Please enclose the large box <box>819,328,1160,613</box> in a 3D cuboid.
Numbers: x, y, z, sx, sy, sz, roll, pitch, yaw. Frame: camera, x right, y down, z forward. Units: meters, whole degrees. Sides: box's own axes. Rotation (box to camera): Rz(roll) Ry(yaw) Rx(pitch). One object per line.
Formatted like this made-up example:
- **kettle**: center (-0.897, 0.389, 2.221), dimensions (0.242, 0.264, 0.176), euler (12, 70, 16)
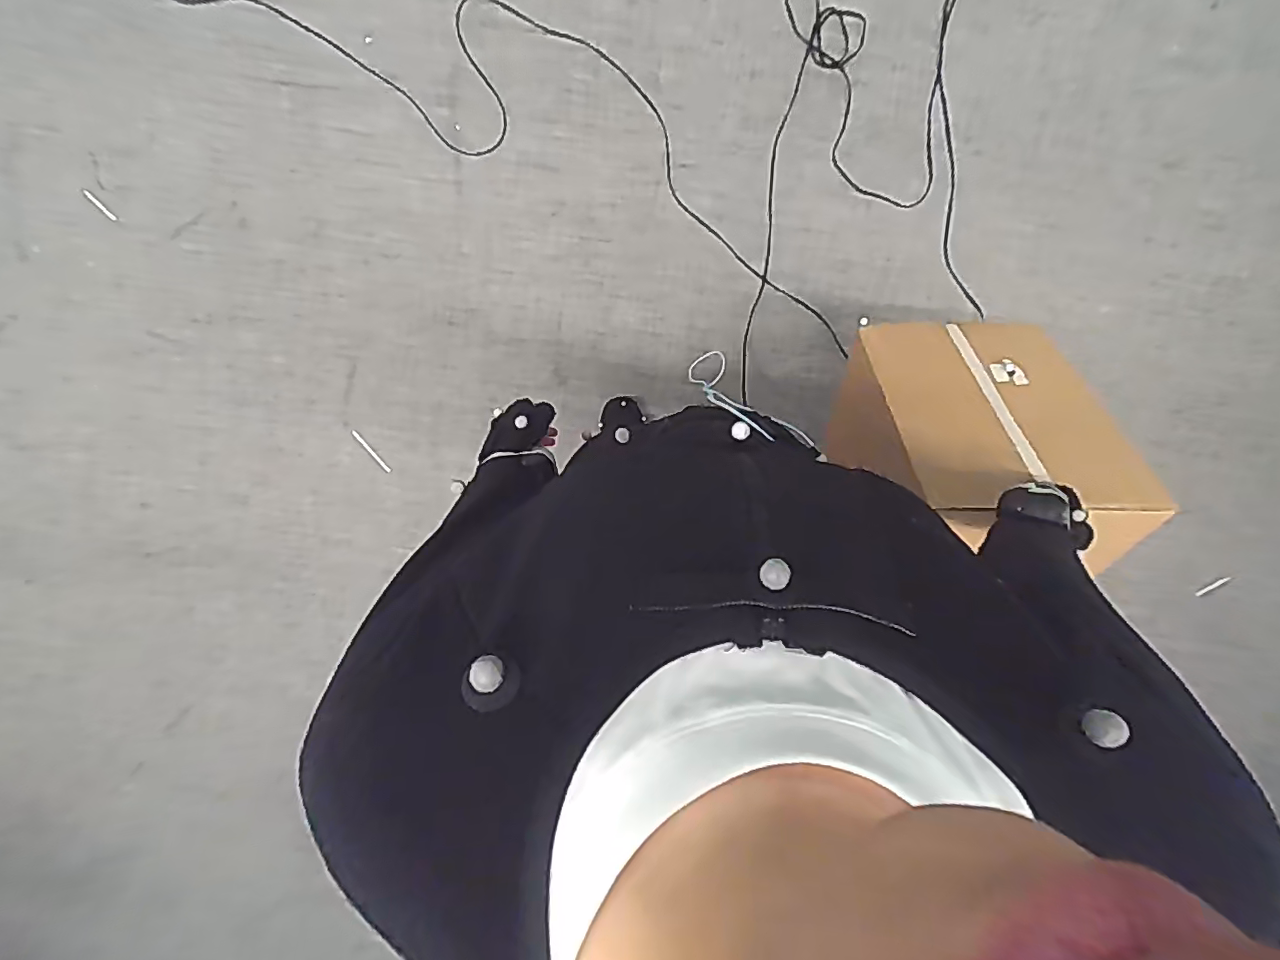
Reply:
- **large box**: center (0.533, -0.016, 0.945), dimensions (0.320, 0.408, 0.320), euler (1, 140, 1)
